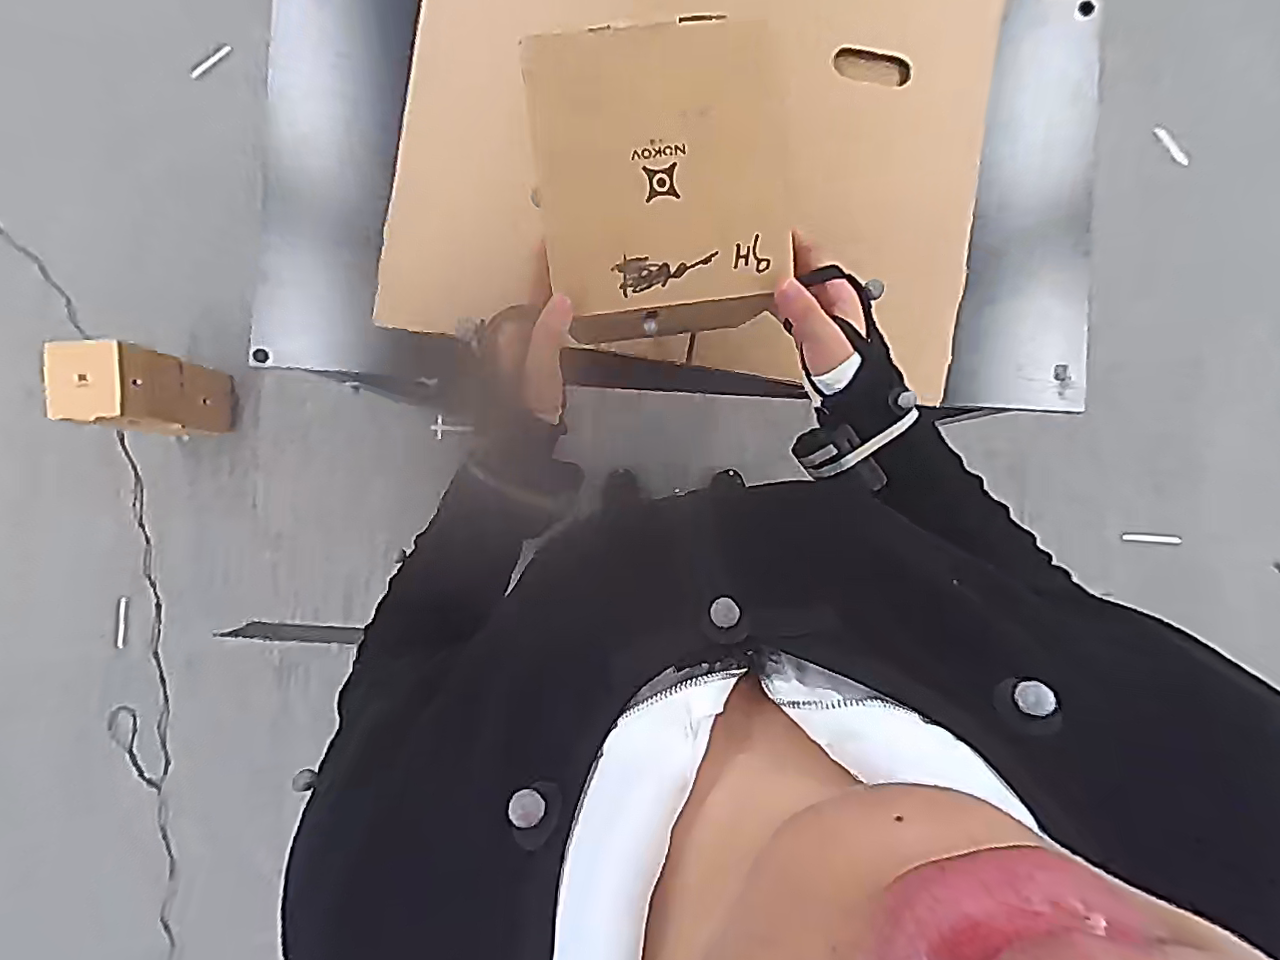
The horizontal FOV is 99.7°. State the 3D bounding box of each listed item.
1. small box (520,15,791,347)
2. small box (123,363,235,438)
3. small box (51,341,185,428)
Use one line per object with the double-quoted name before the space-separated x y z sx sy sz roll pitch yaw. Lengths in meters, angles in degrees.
"small box" 0.010 -0.214 0.436 0.168 0.176 0.179 -7 97 0
"small box" -1.227 -0.209 1.449 0.168 0.176 0.179 0 89 1
"small box" -1.230 -0.218 1.287 0.168 0.176 0.179 -4 87 0
